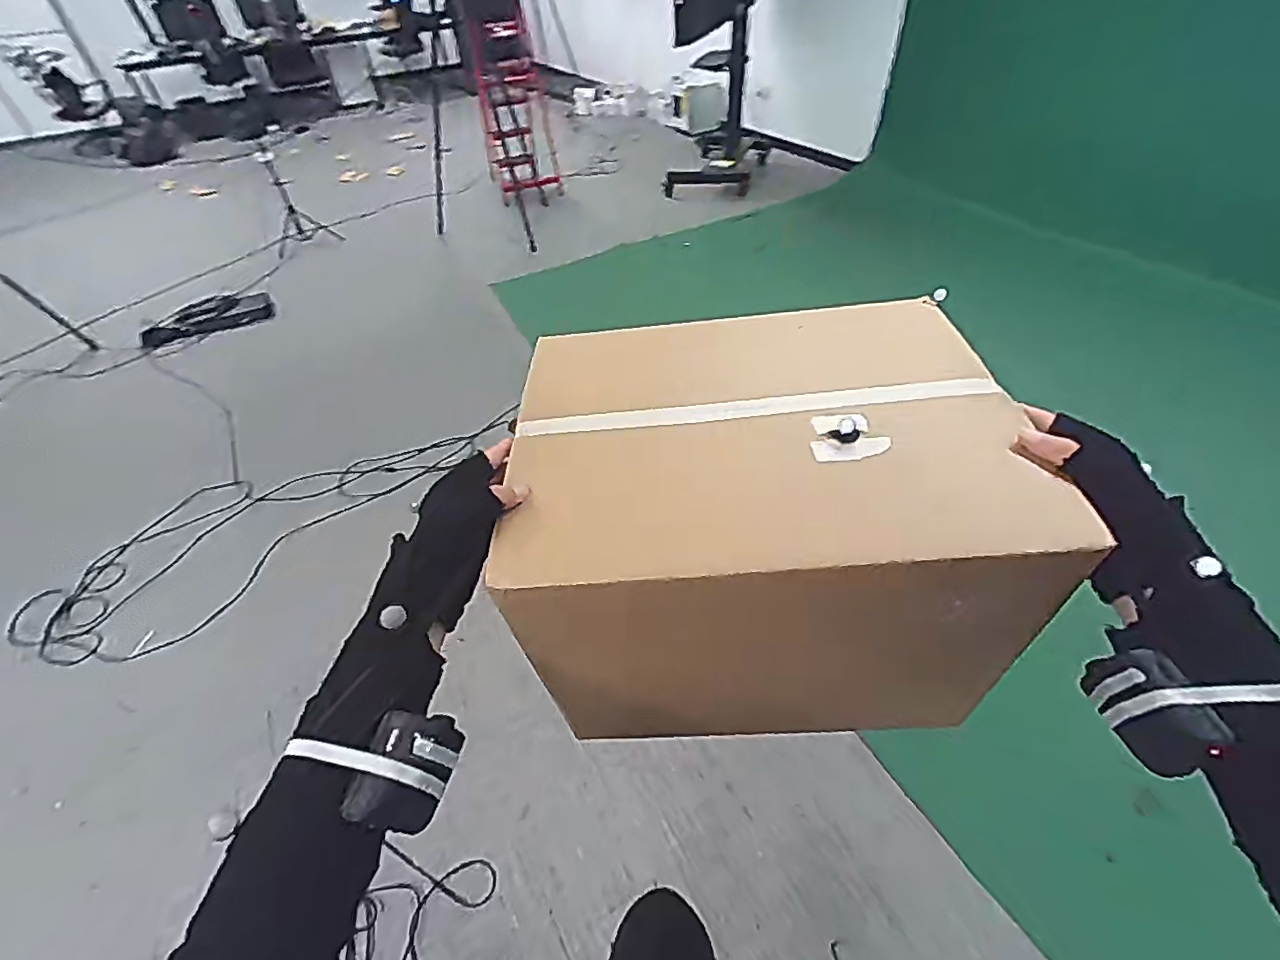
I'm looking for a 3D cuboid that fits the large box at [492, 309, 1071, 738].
[{"bbox_3d":[0.101,0.052,0.576,0.408,0.320,0.320,-5,47,4],"label":"large box"}]
